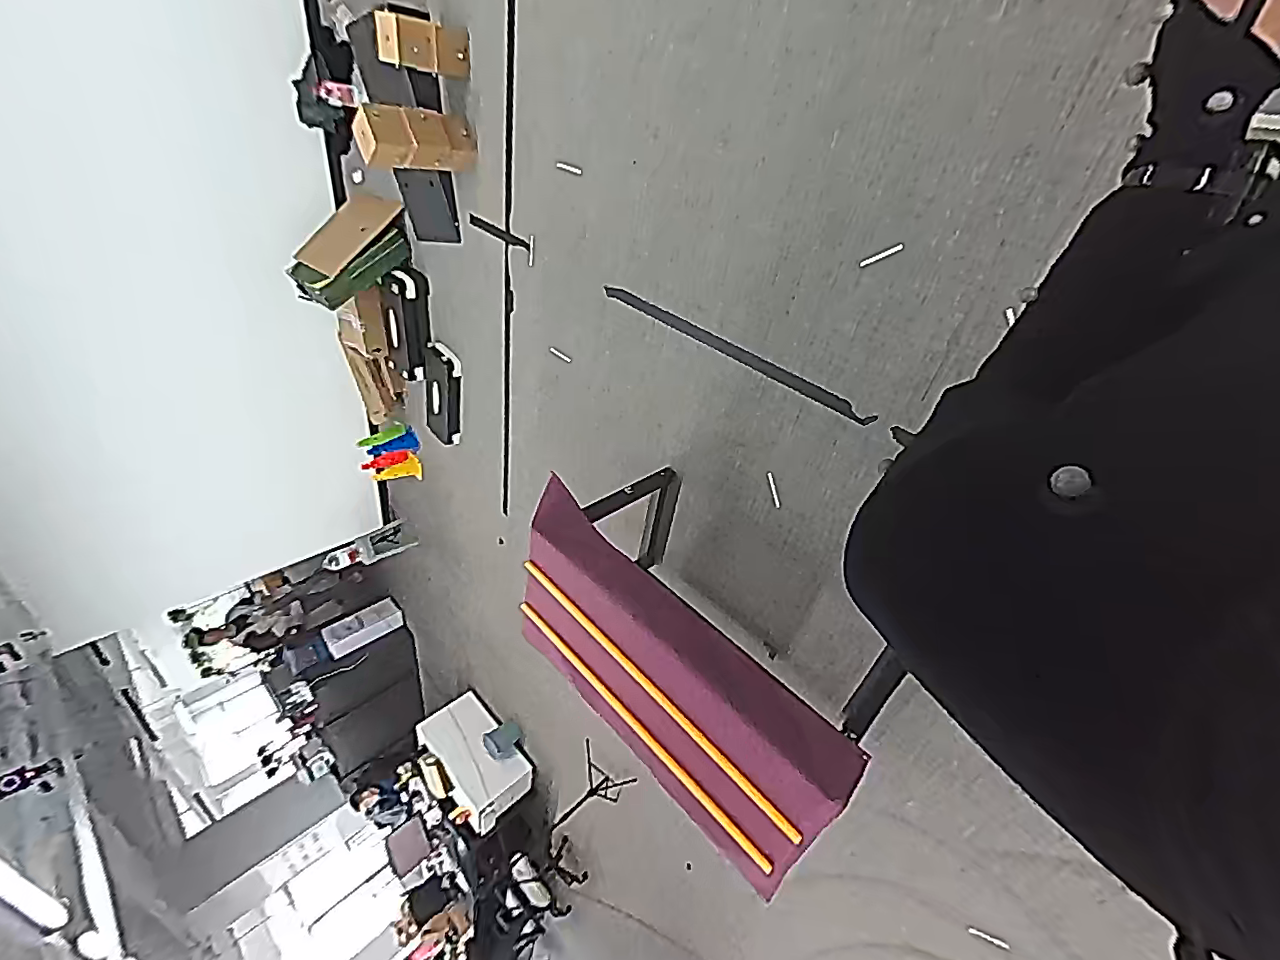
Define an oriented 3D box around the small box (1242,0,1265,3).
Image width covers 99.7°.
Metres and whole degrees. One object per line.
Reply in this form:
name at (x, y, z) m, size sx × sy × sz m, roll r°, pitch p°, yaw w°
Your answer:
small box at (0.521, -0.460, 0.350) m, size 0.179 × 0.176 × 0.168 m, roll 0°, pitch 117°, yaw 53°
